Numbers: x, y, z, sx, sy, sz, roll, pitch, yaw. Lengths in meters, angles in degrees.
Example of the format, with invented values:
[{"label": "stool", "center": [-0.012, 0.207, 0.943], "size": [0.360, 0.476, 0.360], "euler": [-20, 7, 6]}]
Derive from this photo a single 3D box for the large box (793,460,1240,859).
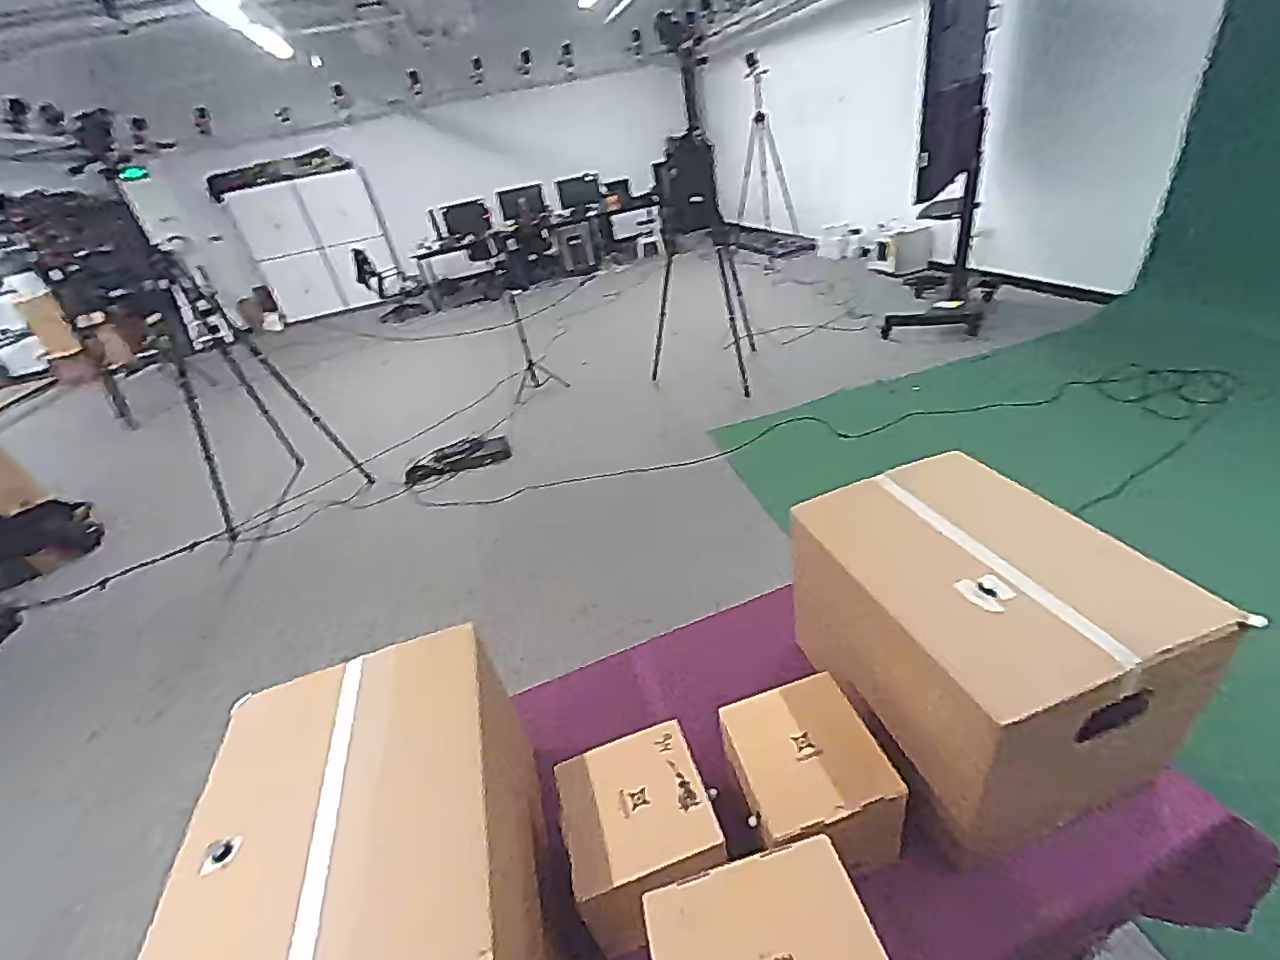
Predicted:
[{"label": "large box", "center": [0.461, 0.226, 0.792], "size": [0.320, 0.320, 0.408], "euler": [-17, 33, -9]}]
